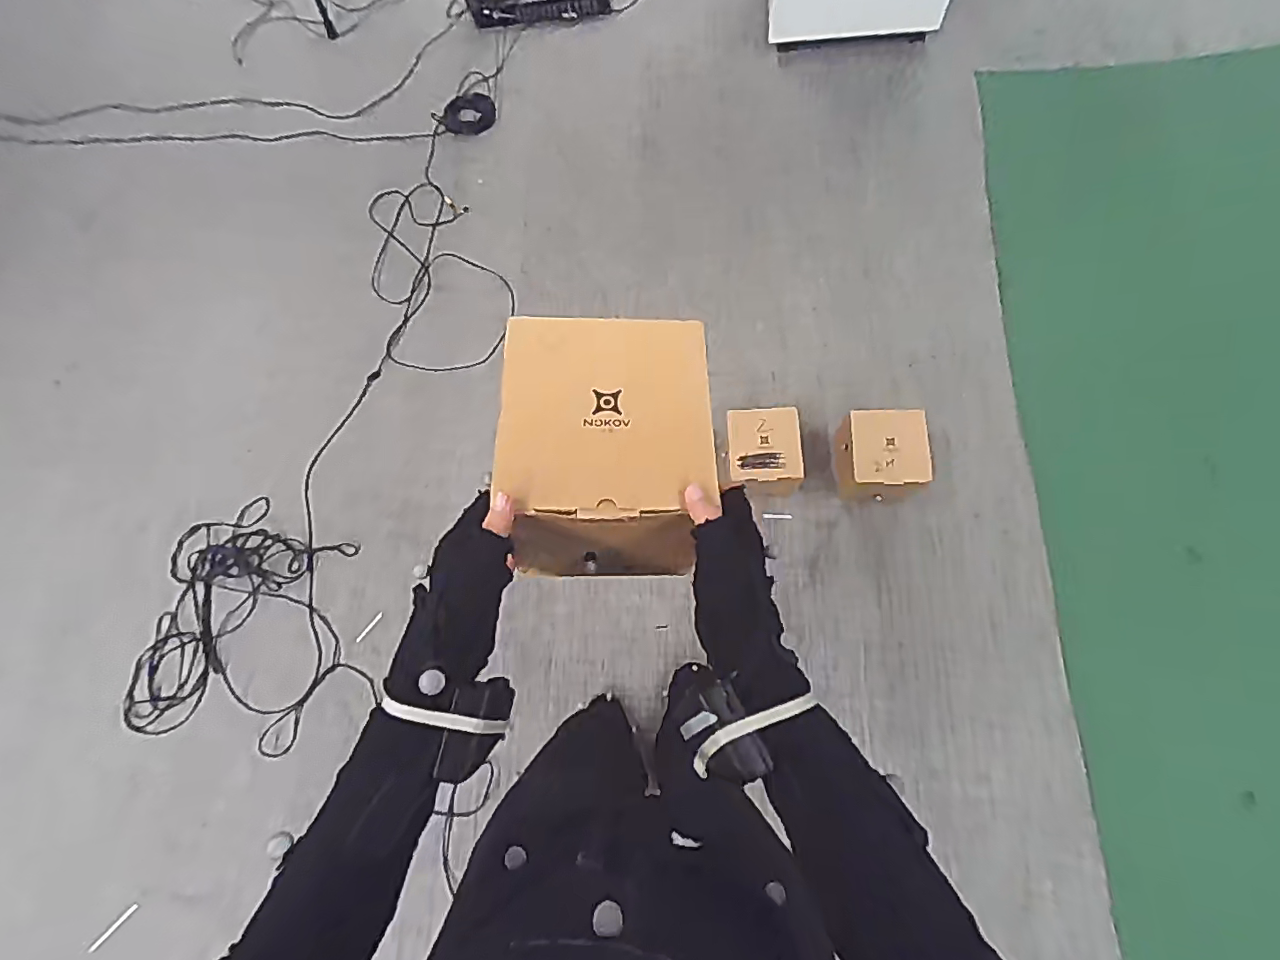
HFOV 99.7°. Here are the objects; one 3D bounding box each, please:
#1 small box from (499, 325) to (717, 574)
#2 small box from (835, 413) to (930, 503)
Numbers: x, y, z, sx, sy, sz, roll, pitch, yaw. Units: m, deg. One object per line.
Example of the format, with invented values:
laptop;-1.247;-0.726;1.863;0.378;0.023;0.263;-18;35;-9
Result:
small box;-0.030;-0.020;0.507;0.168;0.176;0.179;0;66;-4
small box;0.573;-0.049;1.300;0.168;0.176;0.179;0;75;8
